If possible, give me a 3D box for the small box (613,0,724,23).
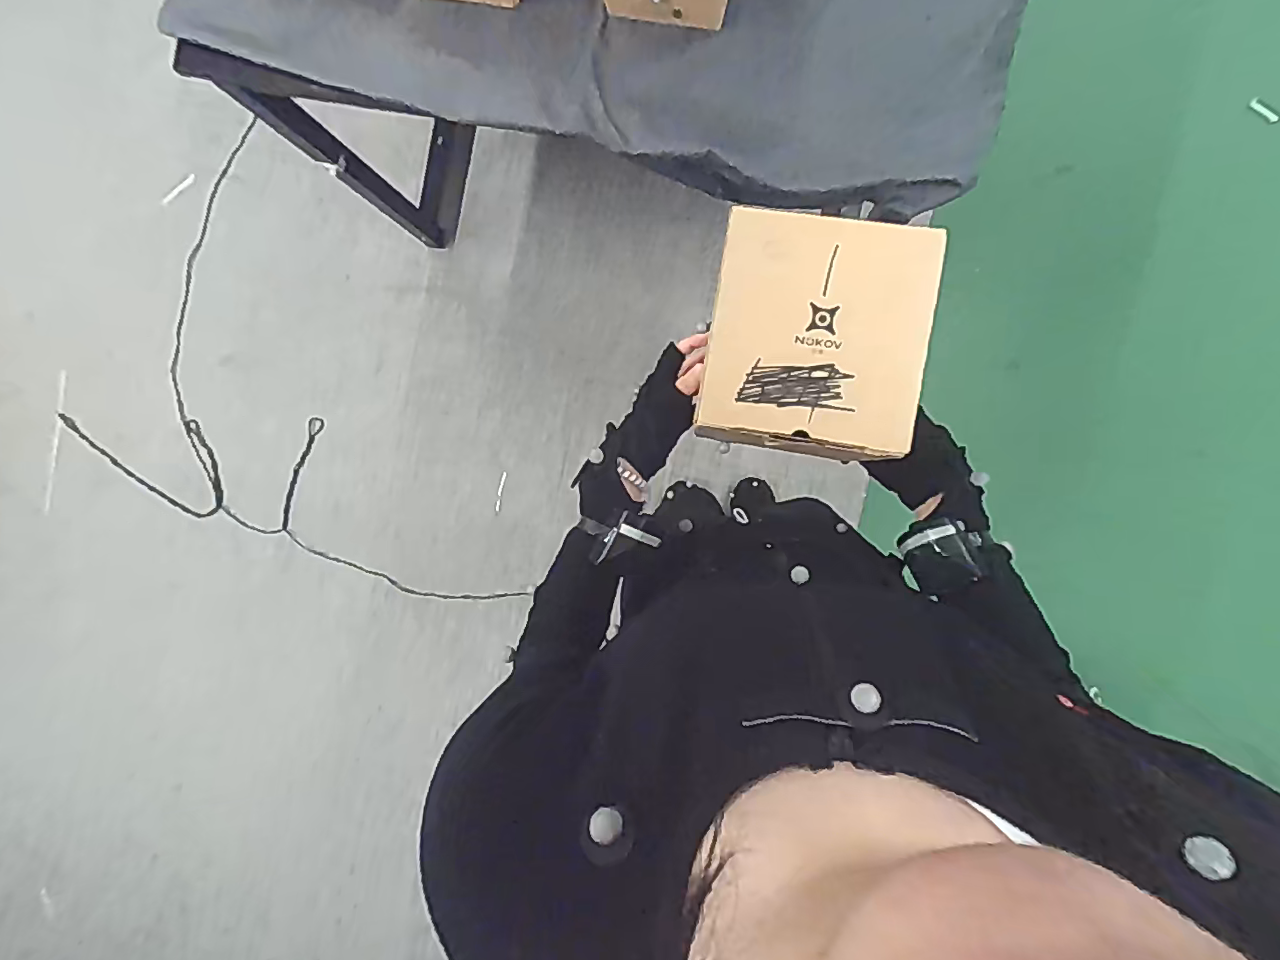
[{"bbox_3d":[0.041,-0.727,0.666,0.168,0.176,0.179,14,94,7],"label":"small box"}]

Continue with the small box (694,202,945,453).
[{"bbox_3d":[0.146,-0.122,0.499,0.168,0.176,0.179,9,92,5],"label":"small box"}]
